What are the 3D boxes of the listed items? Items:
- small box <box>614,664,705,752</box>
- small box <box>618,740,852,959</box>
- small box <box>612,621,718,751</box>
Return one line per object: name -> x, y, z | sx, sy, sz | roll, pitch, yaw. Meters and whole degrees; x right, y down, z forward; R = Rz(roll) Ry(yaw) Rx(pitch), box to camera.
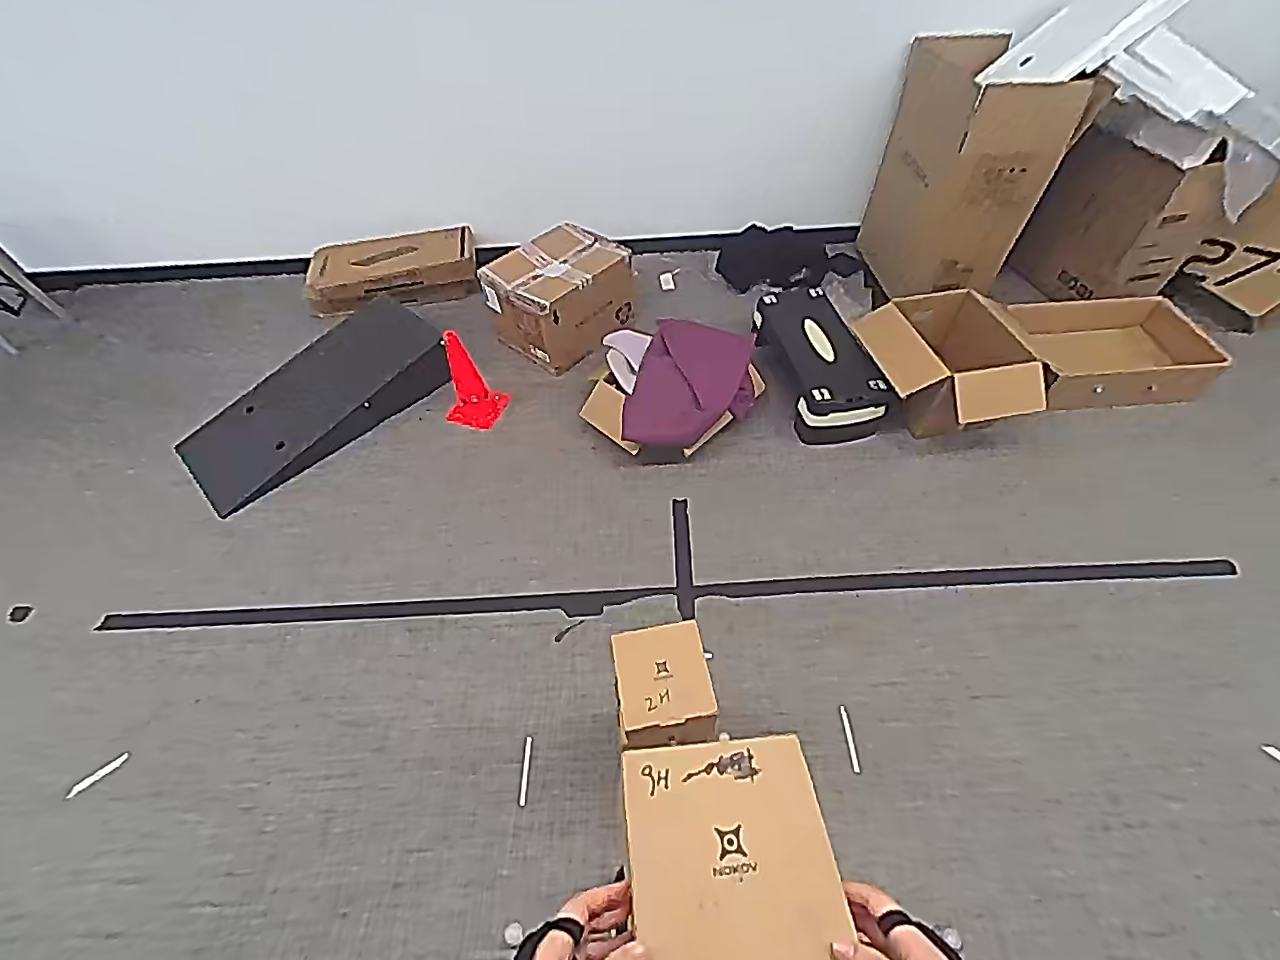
small box -> 0.043, 0.493, 1.159 | 0.179, 0.176, 0.168 | -6, 52, -2
small box -> 0.067, 0.359, 0.489 | 0.168, 0.176, 0.179 | -2, 46, -5
small box -> 0.044, 0.394, 1.026 | 0.168, 0.176, 0.179 | -10, 52, -3
